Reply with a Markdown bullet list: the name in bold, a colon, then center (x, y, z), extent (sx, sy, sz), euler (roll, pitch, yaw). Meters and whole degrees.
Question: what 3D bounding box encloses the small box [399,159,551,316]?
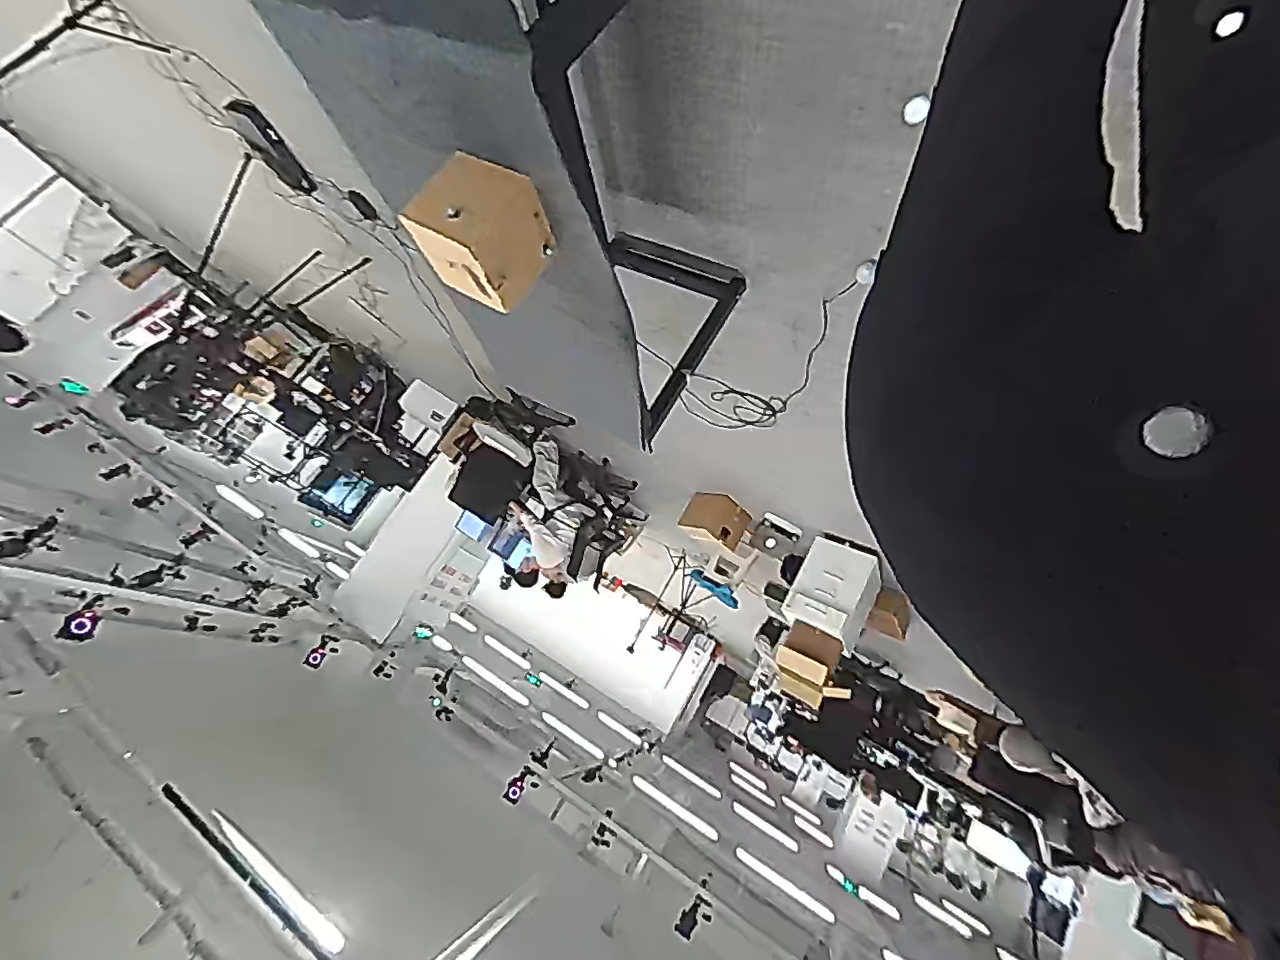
- **small box**: center (-0.281, -0.437, 0.974), extent (0.179, 0.176, 0.168), euler (29, 166, 19)
